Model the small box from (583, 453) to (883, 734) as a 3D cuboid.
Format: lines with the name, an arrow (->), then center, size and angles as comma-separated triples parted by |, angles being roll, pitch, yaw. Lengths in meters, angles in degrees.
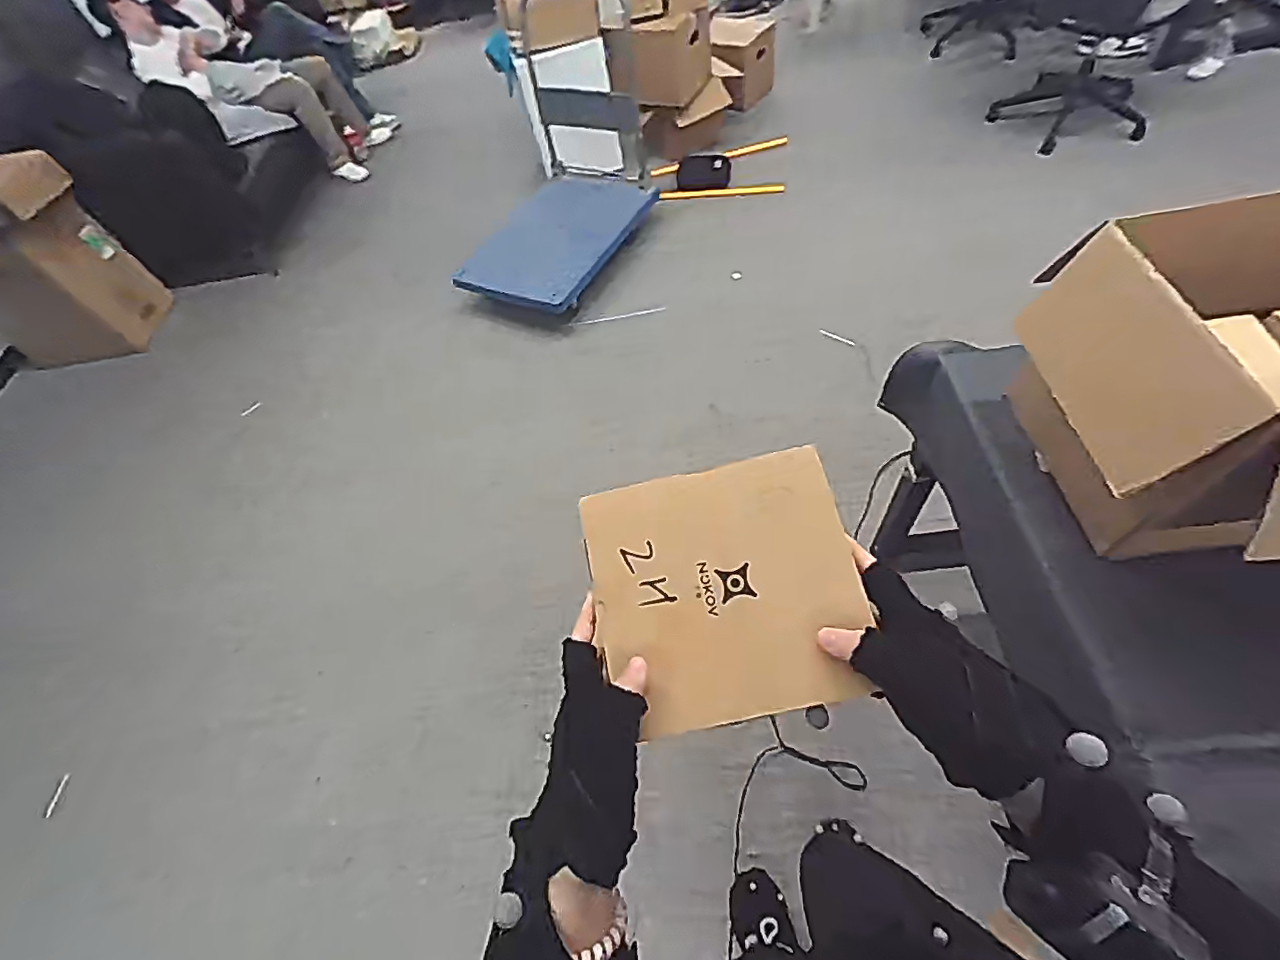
small box -> 0.062, 0.096, 0.439 | 0.179, 0.176, 0.168 | -11, 69, 2
